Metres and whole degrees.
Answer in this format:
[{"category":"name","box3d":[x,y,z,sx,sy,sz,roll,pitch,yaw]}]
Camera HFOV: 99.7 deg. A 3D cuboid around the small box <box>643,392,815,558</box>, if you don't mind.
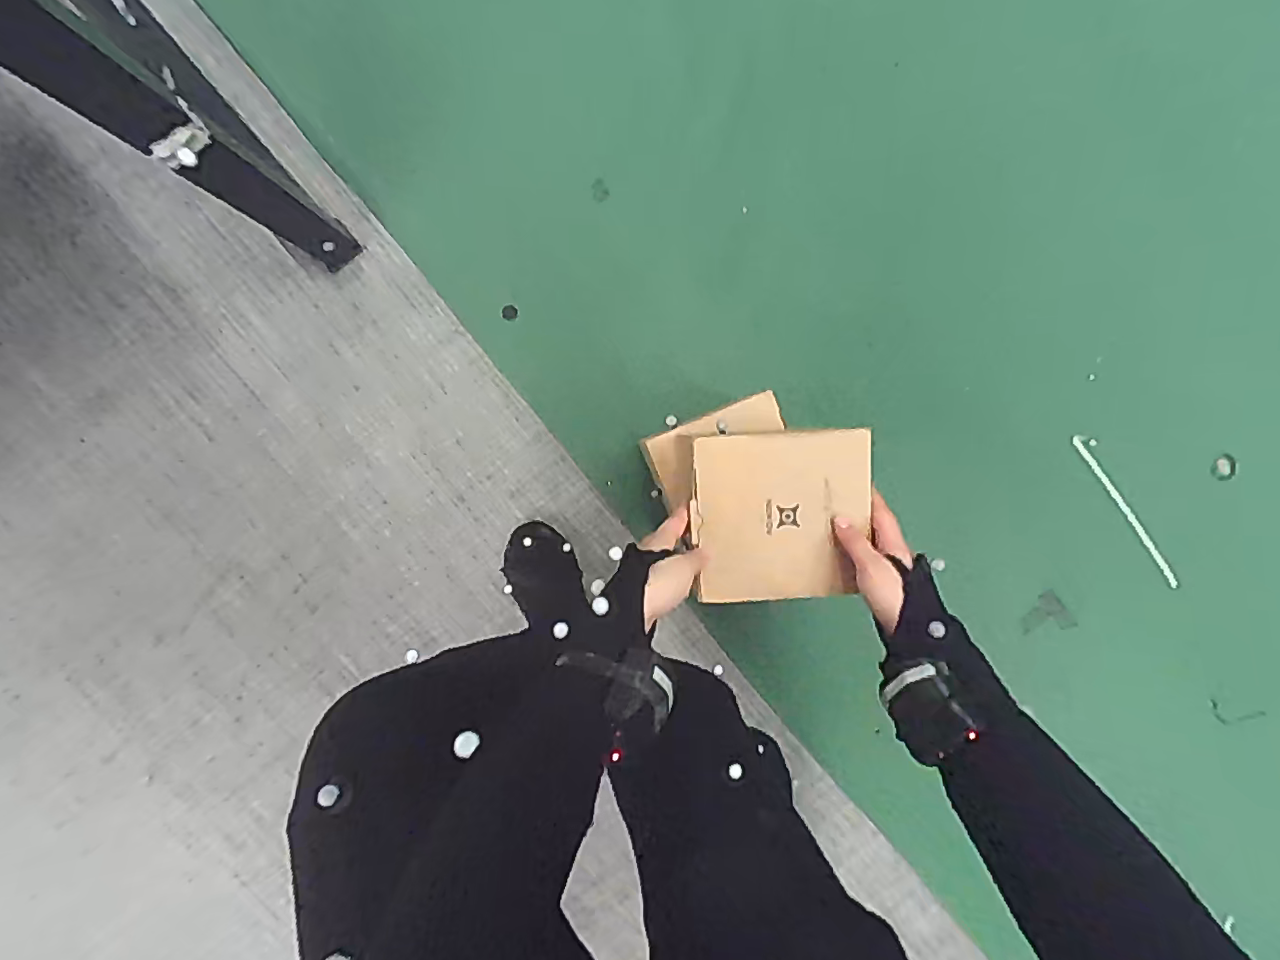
[{"category":"small box","box3d":[0.111,-0.011,0.758,0.179,0.176,0.168,-22,96,-1]}]
